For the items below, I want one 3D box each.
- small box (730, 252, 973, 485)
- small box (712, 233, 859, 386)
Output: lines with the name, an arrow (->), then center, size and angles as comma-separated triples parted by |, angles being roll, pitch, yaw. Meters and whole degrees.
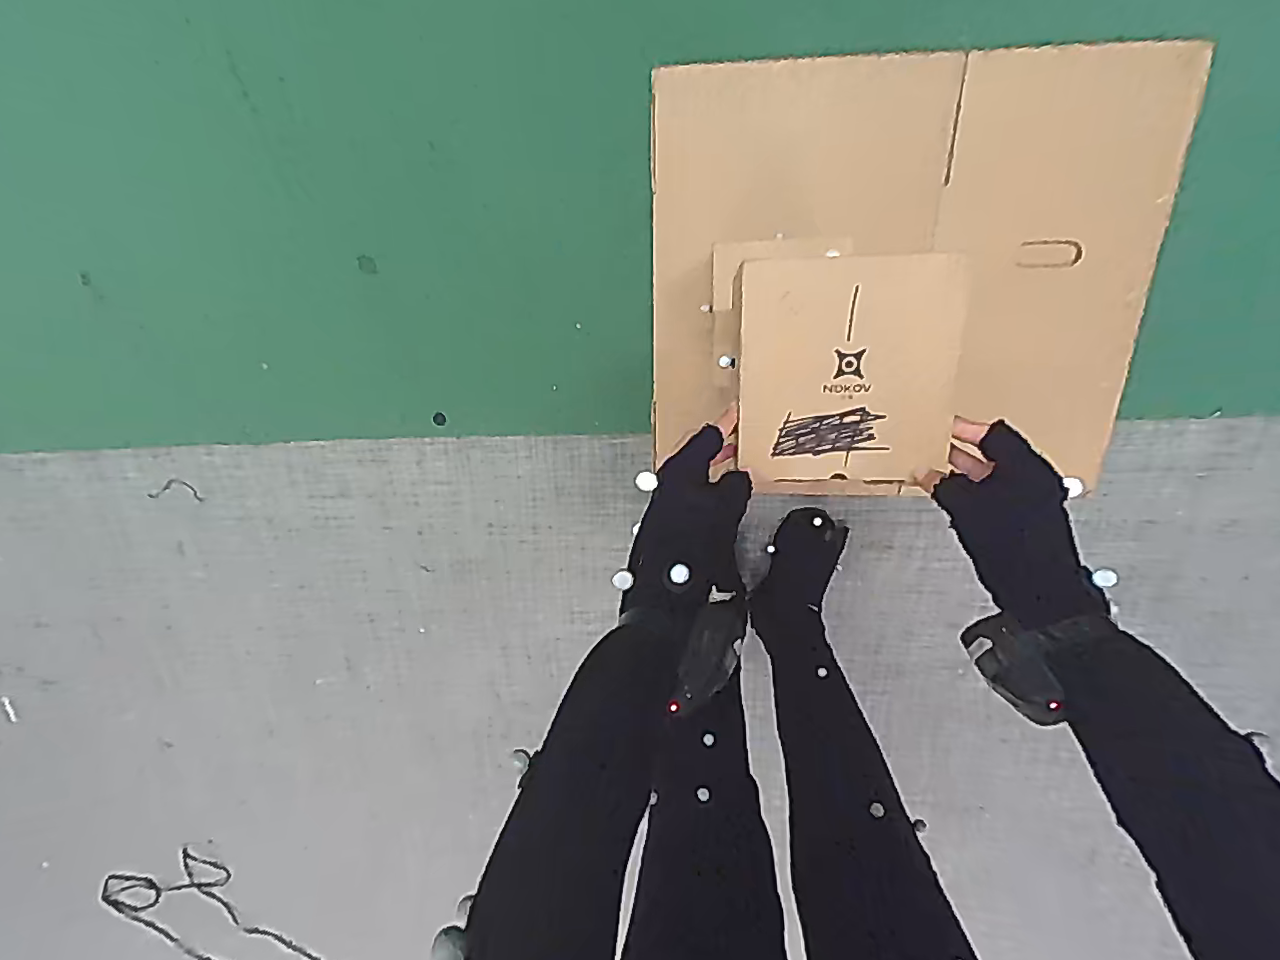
small box -> 0.170, -0.103, 0.495 | 0.168, 0.176, 0.179 | 1, 105, 8
small box -> 0.183, -0.227, 0.732 | 0.168, 0.176, 0.179 | 0, 109, 7
